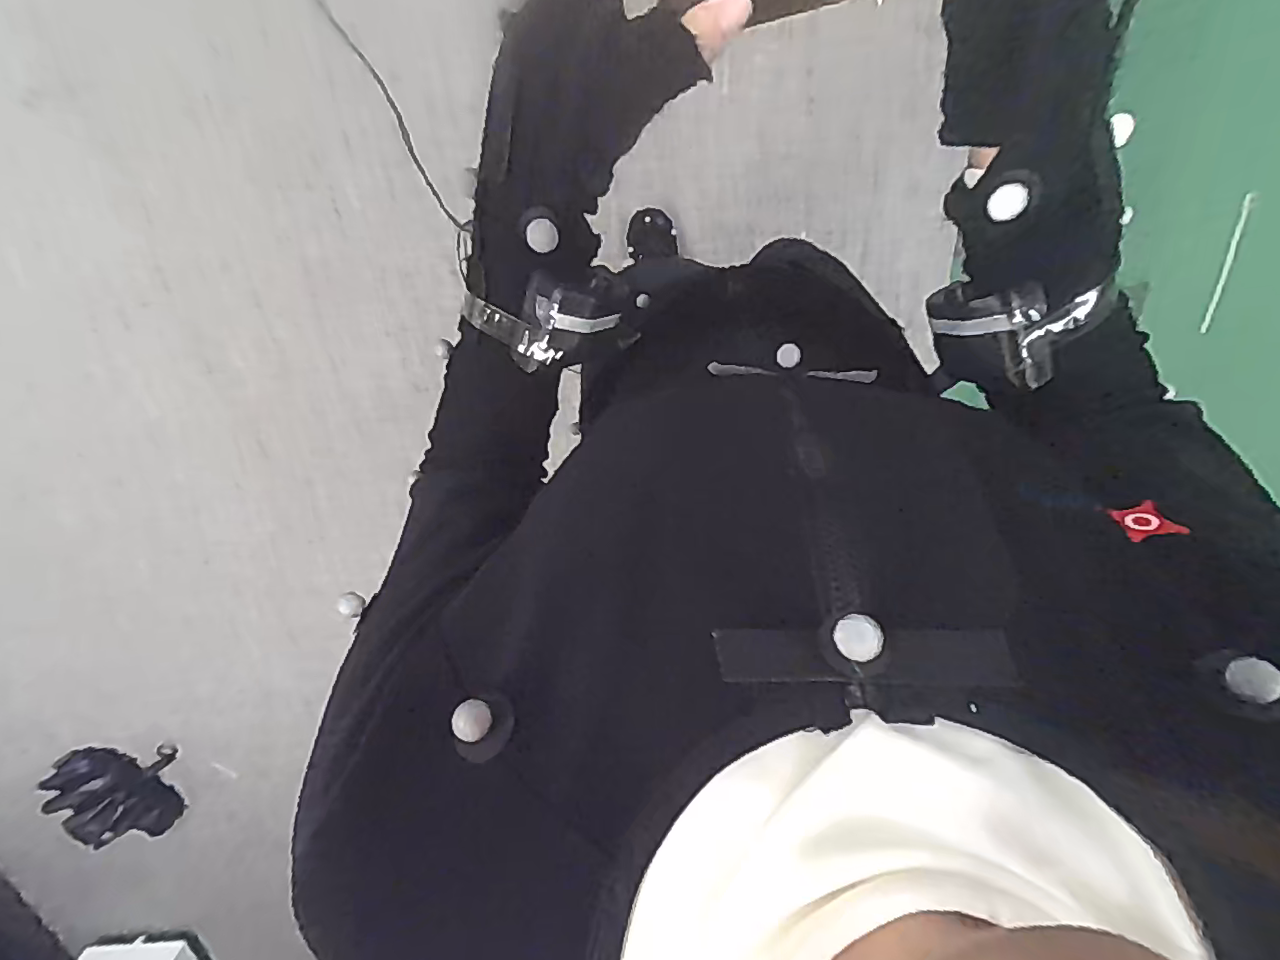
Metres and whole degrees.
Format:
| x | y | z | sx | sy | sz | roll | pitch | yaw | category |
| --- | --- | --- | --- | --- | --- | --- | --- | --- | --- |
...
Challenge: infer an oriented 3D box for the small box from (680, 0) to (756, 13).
| x | y | z | sx | sy | sz | roll | pitch | yaw | category |
| --- | --- | --- | --- | --- | --- | --- | --- | --- | --- |
| 0.075 | -0.340 | 0.224 | 0.168 | 0.176 | 0.179 | -10 | 110 | 9 | small box |
